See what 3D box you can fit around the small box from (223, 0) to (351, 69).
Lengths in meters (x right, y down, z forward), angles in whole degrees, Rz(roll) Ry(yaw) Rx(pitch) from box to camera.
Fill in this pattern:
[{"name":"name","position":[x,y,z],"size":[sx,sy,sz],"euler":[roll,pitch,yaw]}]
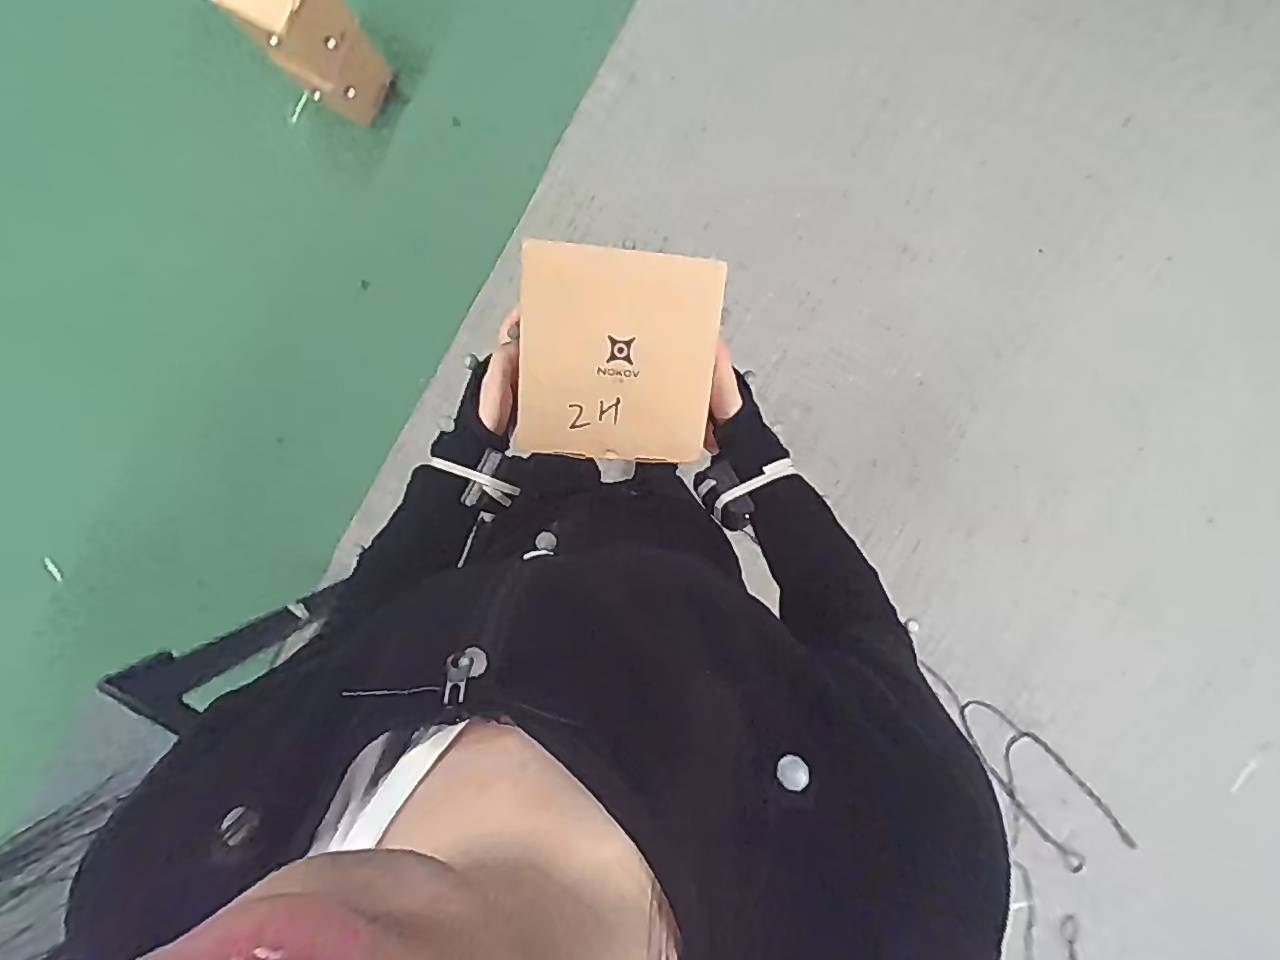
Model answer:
[{"name":"small box","position":[-0.773,-1.045,1.167],"size":[0.179,0.176,0.168],"euler":[27,95,-1]}]

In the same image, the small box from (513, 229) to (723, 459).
[{"name":"small box","position":[-0.029,-0.131,0.525],"size":[0.168,0.176,0.179],"euler":[4,109,-6]}]
